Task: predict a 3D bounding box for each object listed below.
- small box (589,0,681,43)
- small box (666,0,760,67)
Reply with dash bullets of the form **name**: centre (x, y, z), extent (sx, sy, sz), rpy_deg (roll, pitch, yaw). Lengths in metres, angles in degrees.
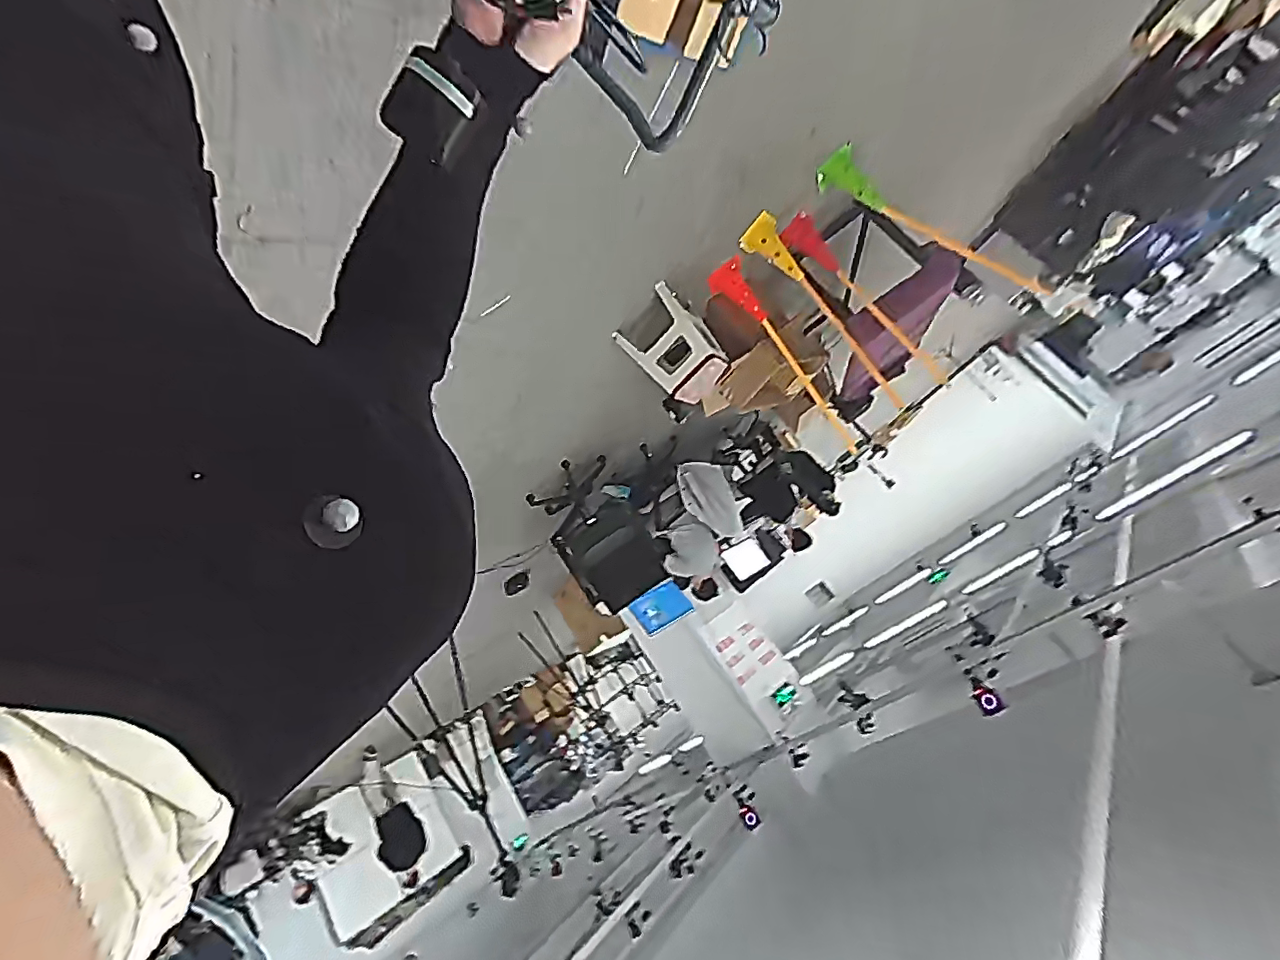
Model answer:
- **small box**: centre (-0.014, -1.127, 1.199), extent (0.179, 0.176, 0.168), rpy_deg (-18, 155, -41)
- **small box**: centre (0.163, -1.187, 1.357), extent (0.179, 0.176, 0.168), rpy_deg (-20, 156, -38)
